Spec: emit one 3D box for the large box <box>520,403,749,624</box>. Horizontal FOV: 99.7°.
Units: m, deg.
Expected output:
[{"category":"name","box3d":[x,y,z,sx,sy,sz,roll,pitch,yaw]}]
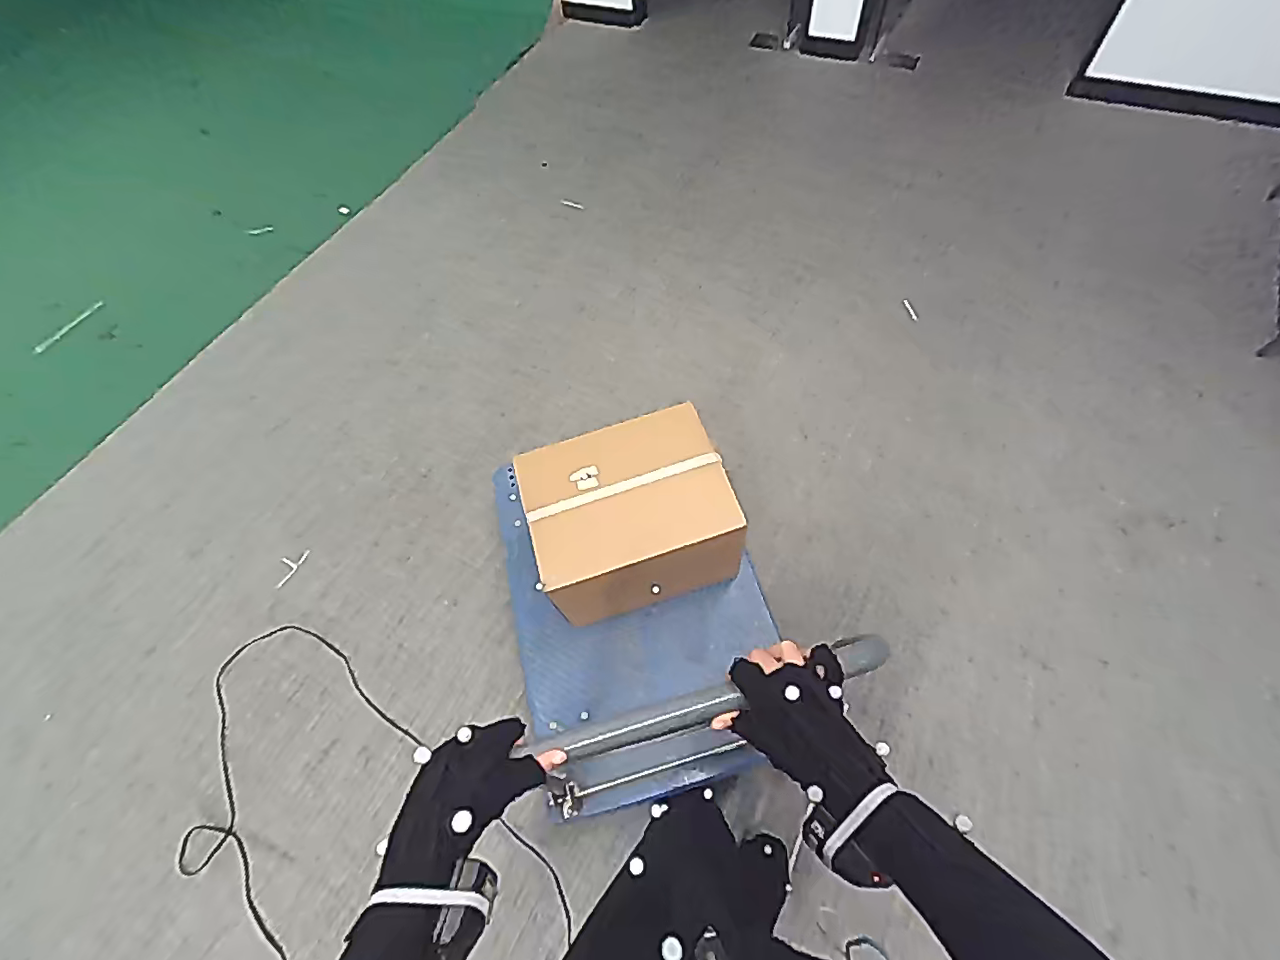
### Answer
[{"category":"large box","box3d":[-0.008,0.088,1.222,0.408,0.320,0.320,-18,61,-3]}]
